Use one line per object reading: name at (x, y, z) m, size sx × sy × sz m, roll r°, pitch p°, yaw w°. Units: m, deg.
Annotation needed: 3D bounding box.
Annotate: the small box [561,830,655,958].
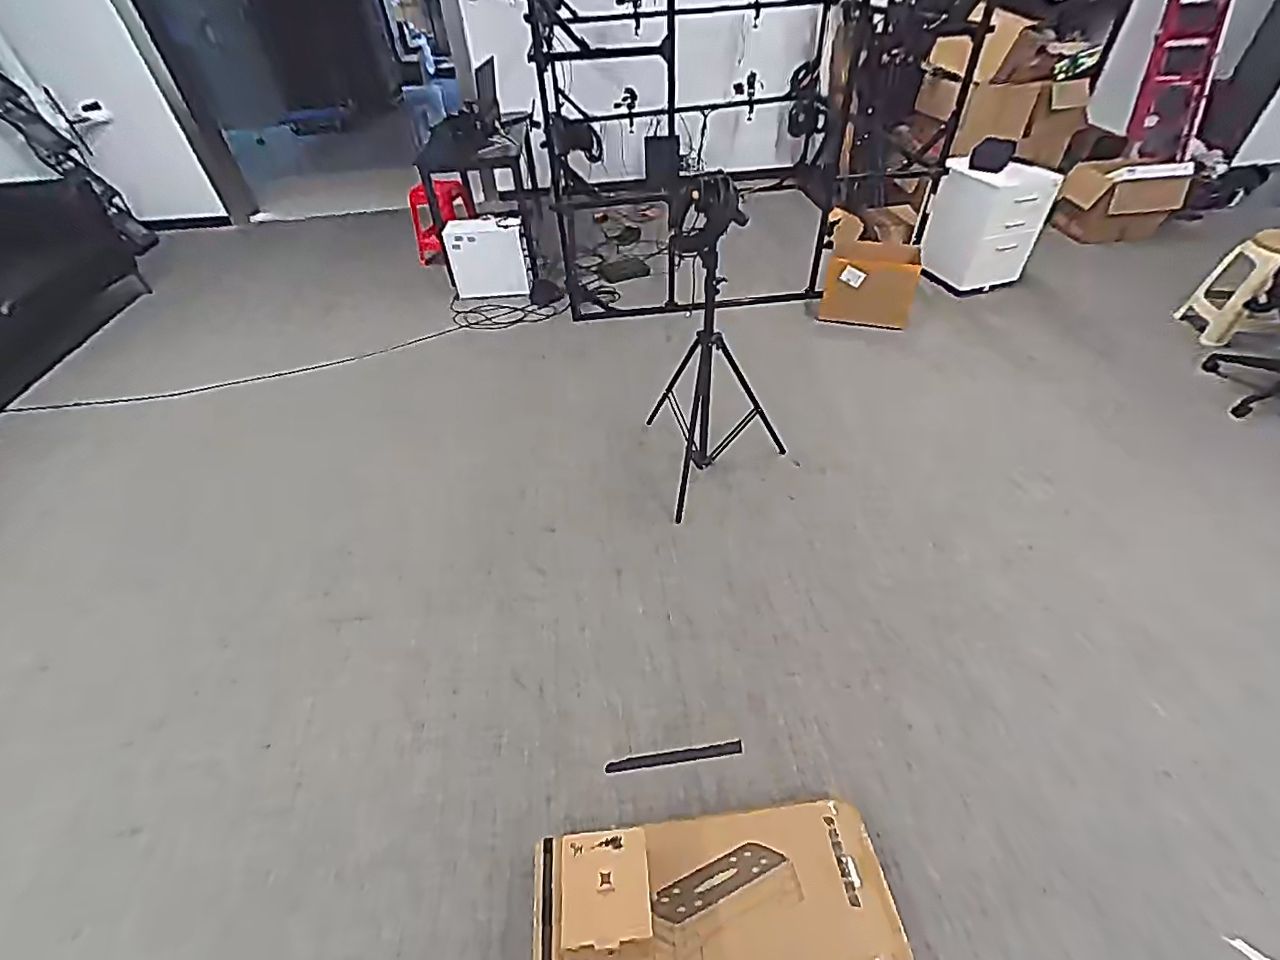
small box at (-0.060, 0.818, 1.065) m, size 0.168 × 0.176 × 0.179 m, roll -5°, pitch 44°, yaw -2°
